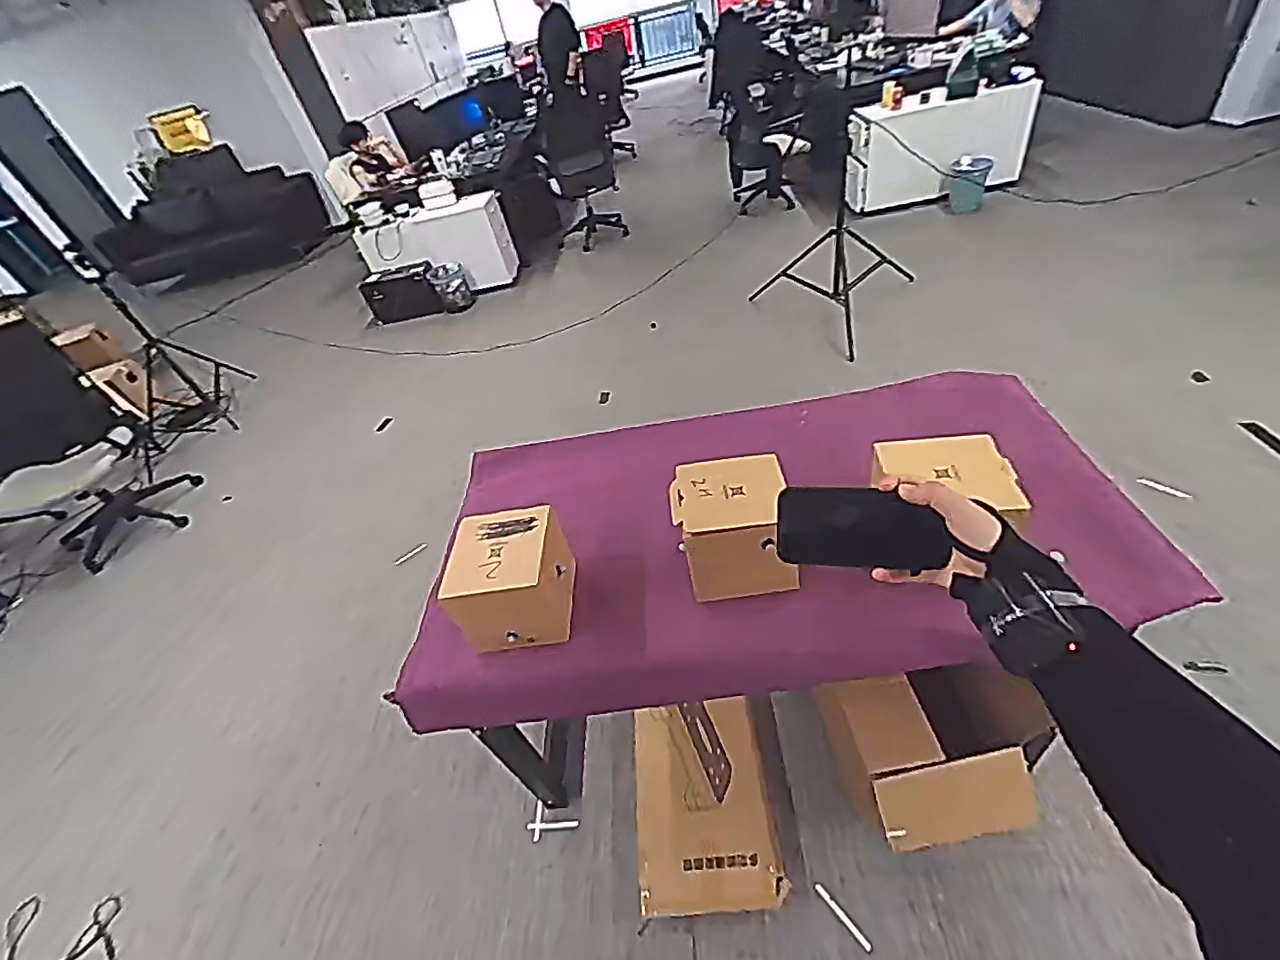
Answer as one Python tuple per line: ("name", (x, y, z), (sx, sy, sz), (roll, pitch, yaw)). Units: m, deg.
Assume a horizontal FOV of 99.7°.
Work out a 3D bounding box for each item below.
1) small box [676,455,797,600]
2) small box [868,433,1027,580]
("small box", (0.162, 0.082, 0.923), (0.179, 0.176, 0.168), (-10, 39, 6))
("small box", (0.474, 0.047, 0.870), (0.179, 0.176, 0.168), (-5, 43, 11))
